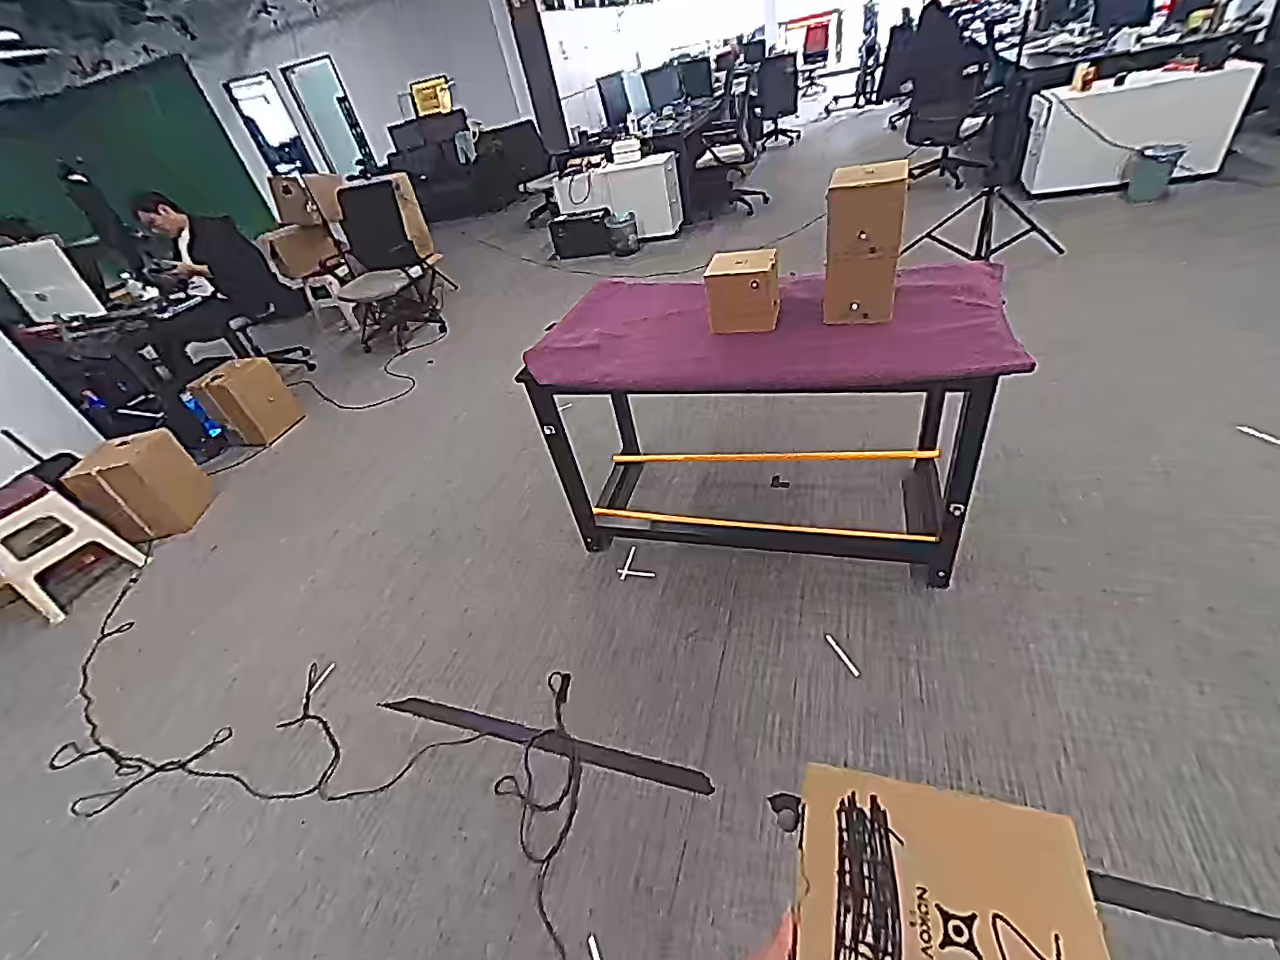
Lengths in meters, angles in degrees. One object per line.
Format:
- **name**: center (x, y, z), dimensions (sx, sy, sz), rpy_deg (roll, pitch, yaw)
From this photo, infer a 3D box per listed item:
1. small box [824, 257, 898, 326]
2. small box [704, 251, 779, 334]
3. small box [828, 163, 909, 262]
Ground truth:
- **small box**: center (0.577, -0.518, 1.410), dimensions (0.168, 0.176, 0.179), rpy_deg (5, 43, 23)
- **small box**: center (0.287, -0.515, 1.497), dimensions (0.179, 0.176, 0.168), rpy_deg (3, 41, 20)
- **small box**: center (0.549, -0.643, 1.306), dimensions (0.168, 0.176, 0.179), rpy_deg (5, 42, 23)
